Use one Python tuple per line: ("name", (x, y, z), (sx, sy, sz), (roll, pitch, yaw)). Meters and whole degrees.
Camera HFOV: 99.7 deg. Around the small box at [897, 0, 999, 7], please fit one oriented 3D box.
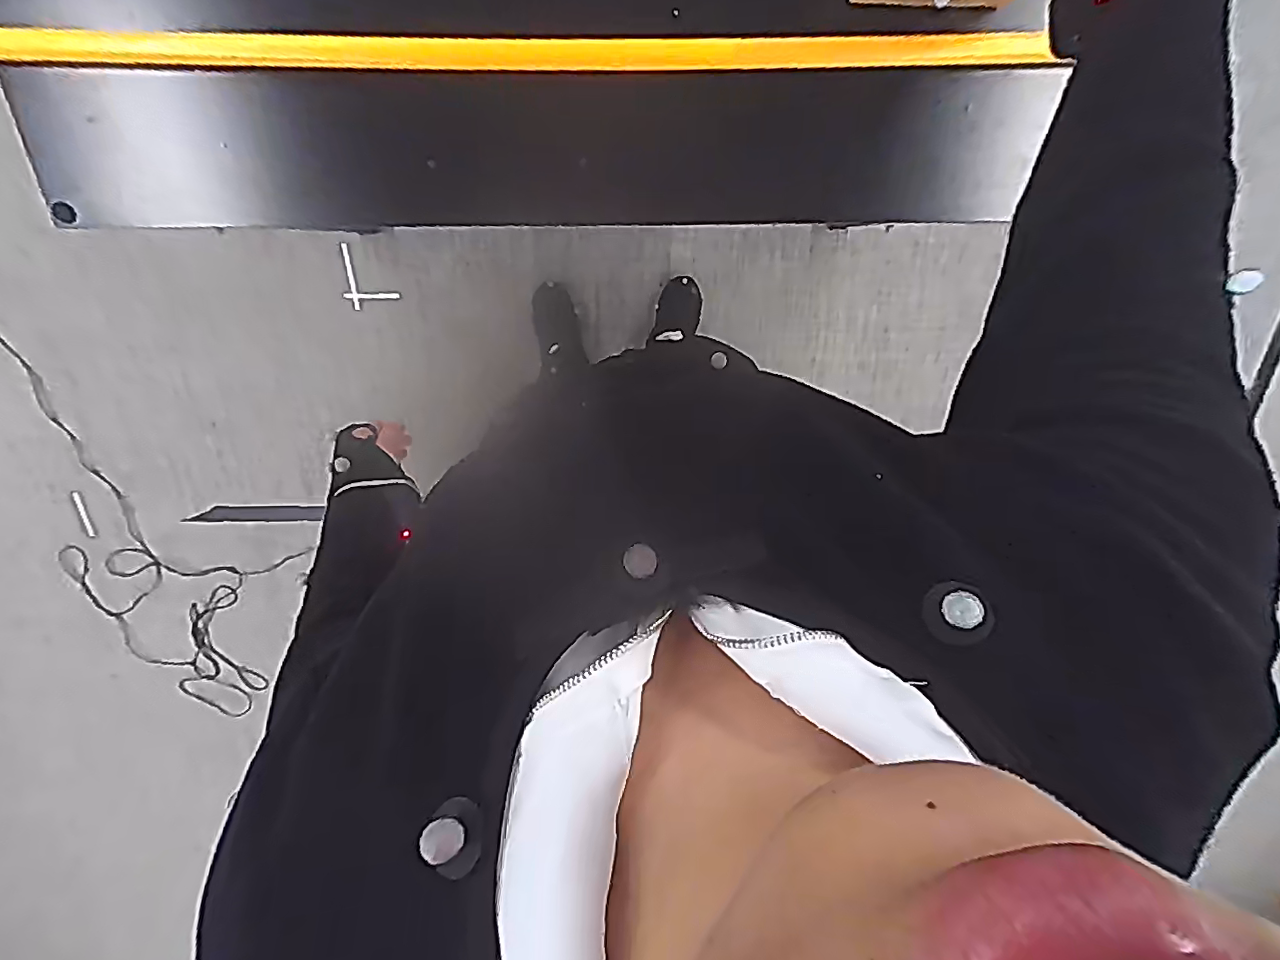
("small box", (0.303, -0.548, 0.457), (0.168, 0.176, 0.179), (1, 113, -2))
